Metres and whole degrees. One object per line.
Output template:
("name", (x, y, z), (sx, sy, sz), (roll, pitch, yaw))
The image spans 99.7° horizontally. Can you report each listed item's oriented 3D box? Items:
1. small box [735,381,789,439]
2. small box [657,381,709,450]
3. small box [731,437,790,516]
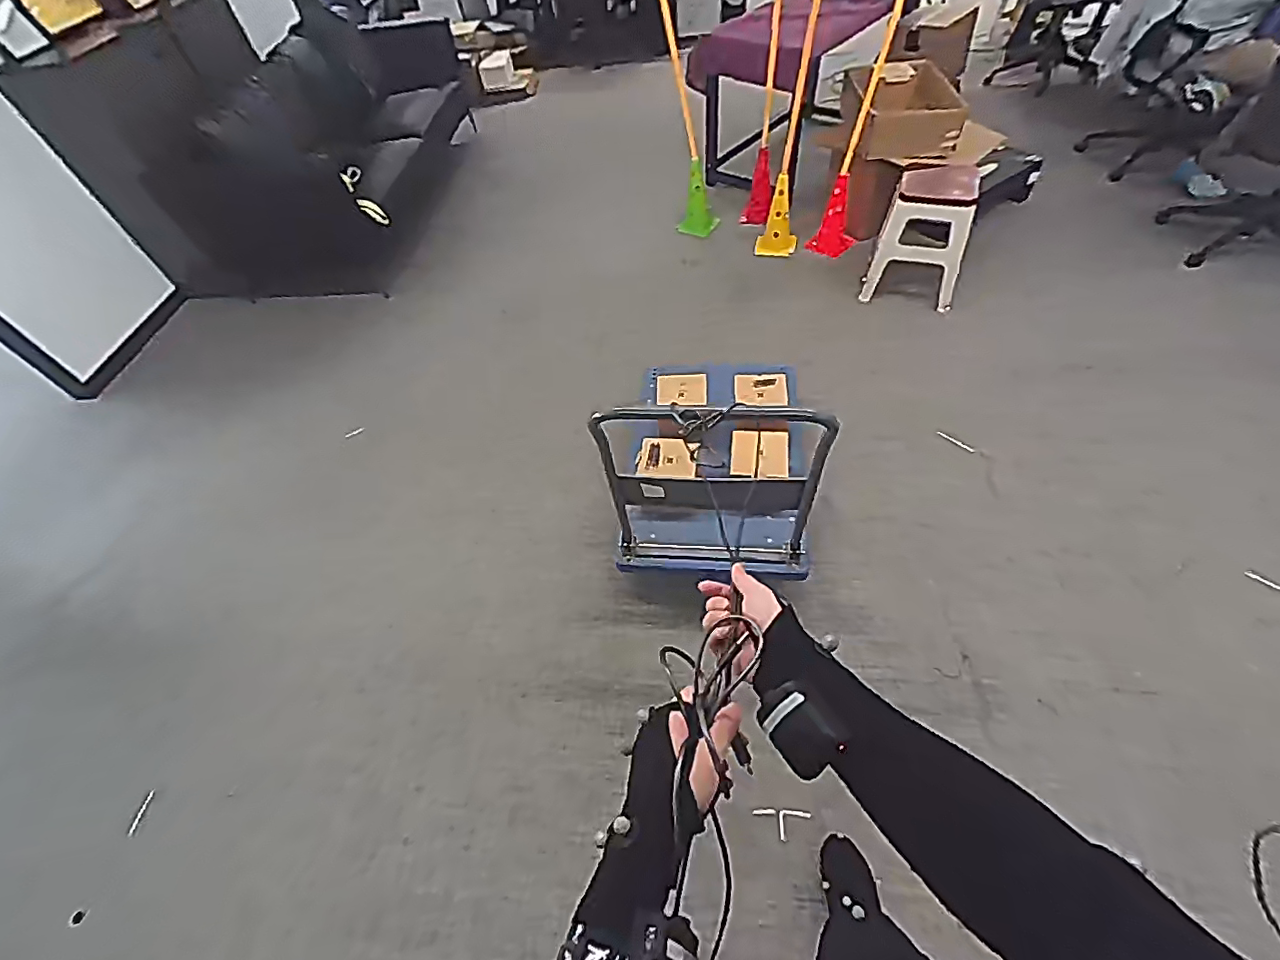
("small box", (0.402, -0.210, 1.801), (0.168, 0.176, 0.179), (-1, 54, 9))
("small box", (0.150, -0.214, 1.843), (0.168, 0.176, 0.179), (-1, 53, 7))
("small box", (0.366, -0.010, 1.658), (0.168, 0.176, 0.179), (3, 55, 11))
